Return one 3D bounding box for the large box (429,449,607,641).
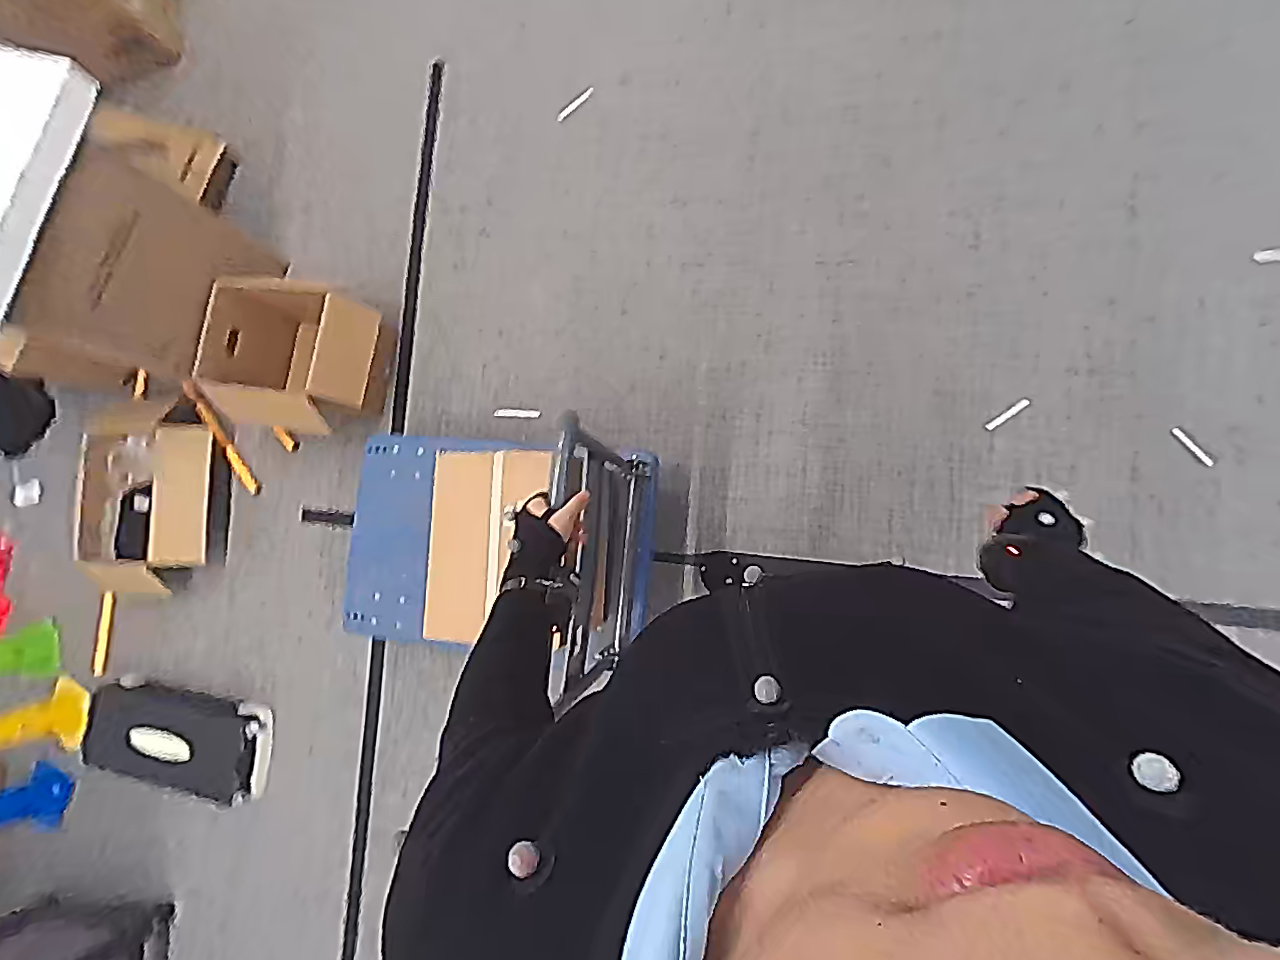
[{"bbox_3d":[-0.269,0.151,1.293,0.320,0.320,0.408,0,83,12],"label":"large box"}]
